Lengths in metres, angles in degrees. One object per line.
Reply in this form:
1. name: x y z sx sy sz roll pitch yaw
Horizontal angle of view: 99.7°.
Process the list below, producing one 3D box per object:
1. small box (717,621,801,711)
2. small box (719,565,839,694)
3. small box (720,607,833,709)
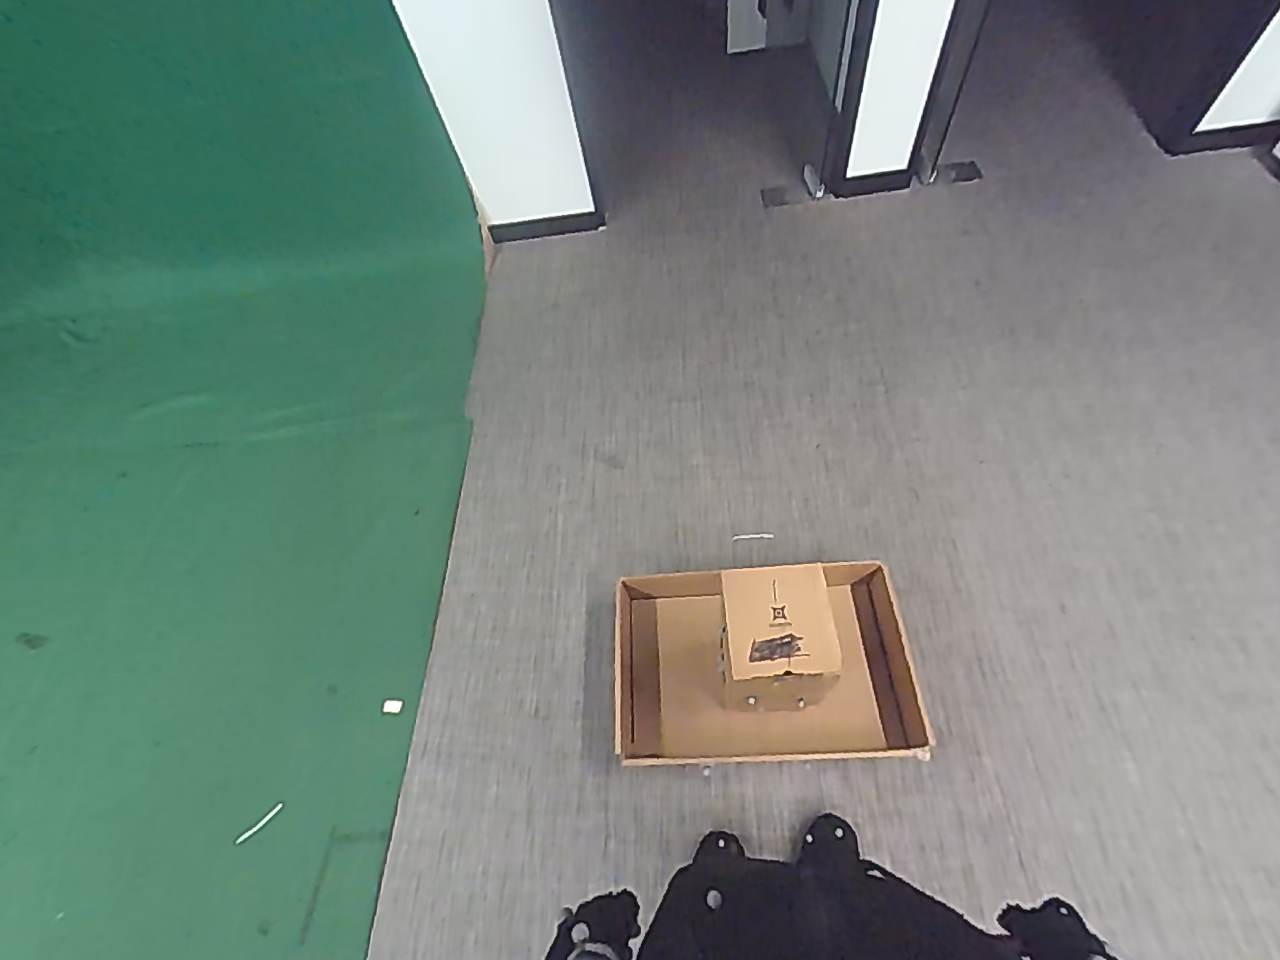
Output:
1. small box: 0.271 0.412 1.205 0.179 0.176 0.168 -6 58 5
2. small box: 0.226 0.260 0.916 0.168 0.176 0.179 -5 57 6
3. small box: 0.251 0.336 1.041 0.179 0.176 0.168 -8 58 4
